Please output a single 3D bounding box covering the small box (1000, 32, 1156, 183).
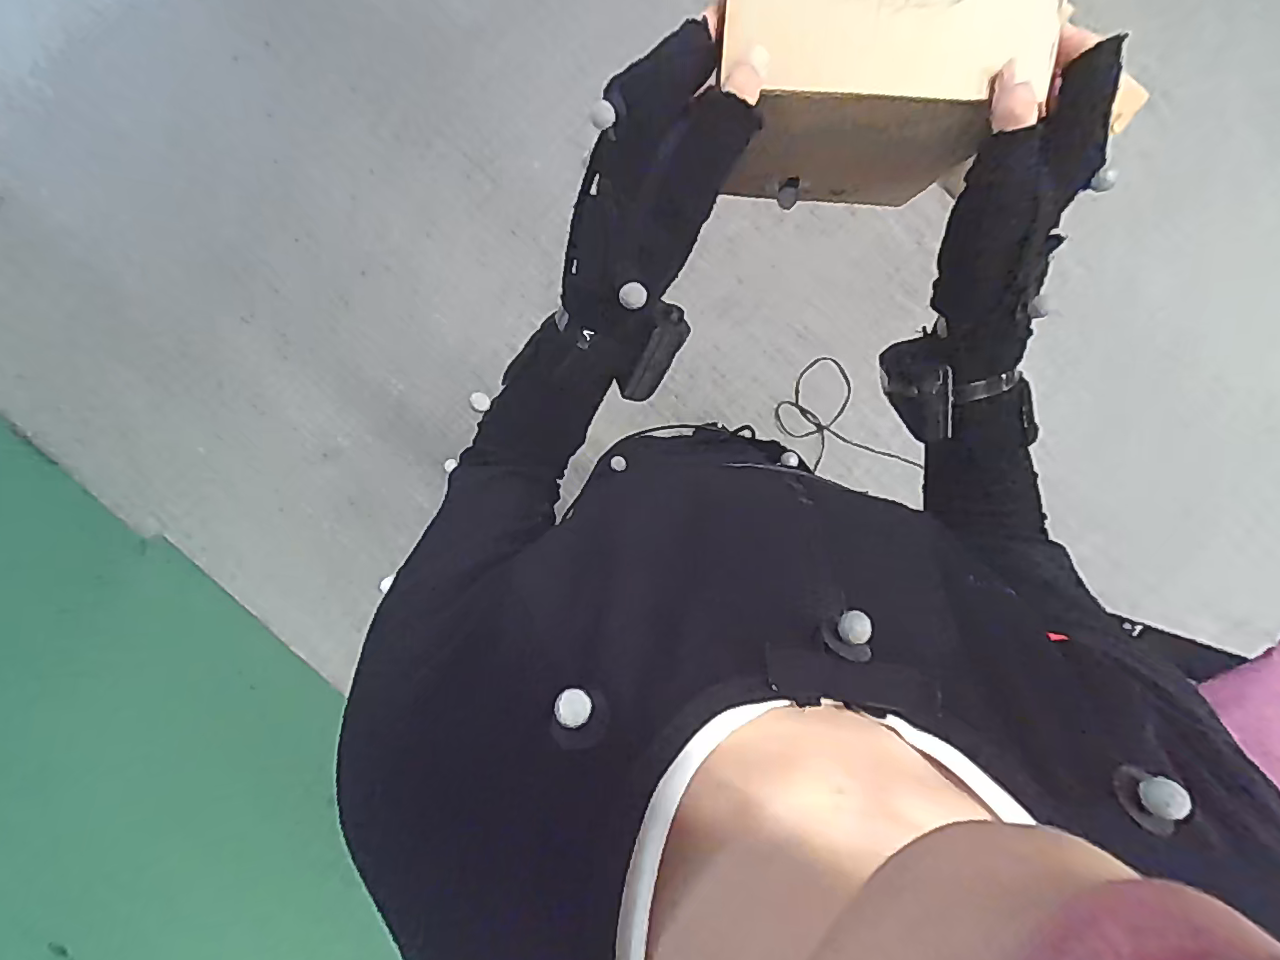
[{"bbox_3d":[0.927,-0.792,1.173,0.179,0.176,0.168,40,93,-2],"label":"small box"}]

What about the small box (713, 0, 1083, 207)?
[{"bbox_3d":[0.139,-0.293,0.335,0.168,0.176,0.179,5,102,2],"label":"small box"}]
